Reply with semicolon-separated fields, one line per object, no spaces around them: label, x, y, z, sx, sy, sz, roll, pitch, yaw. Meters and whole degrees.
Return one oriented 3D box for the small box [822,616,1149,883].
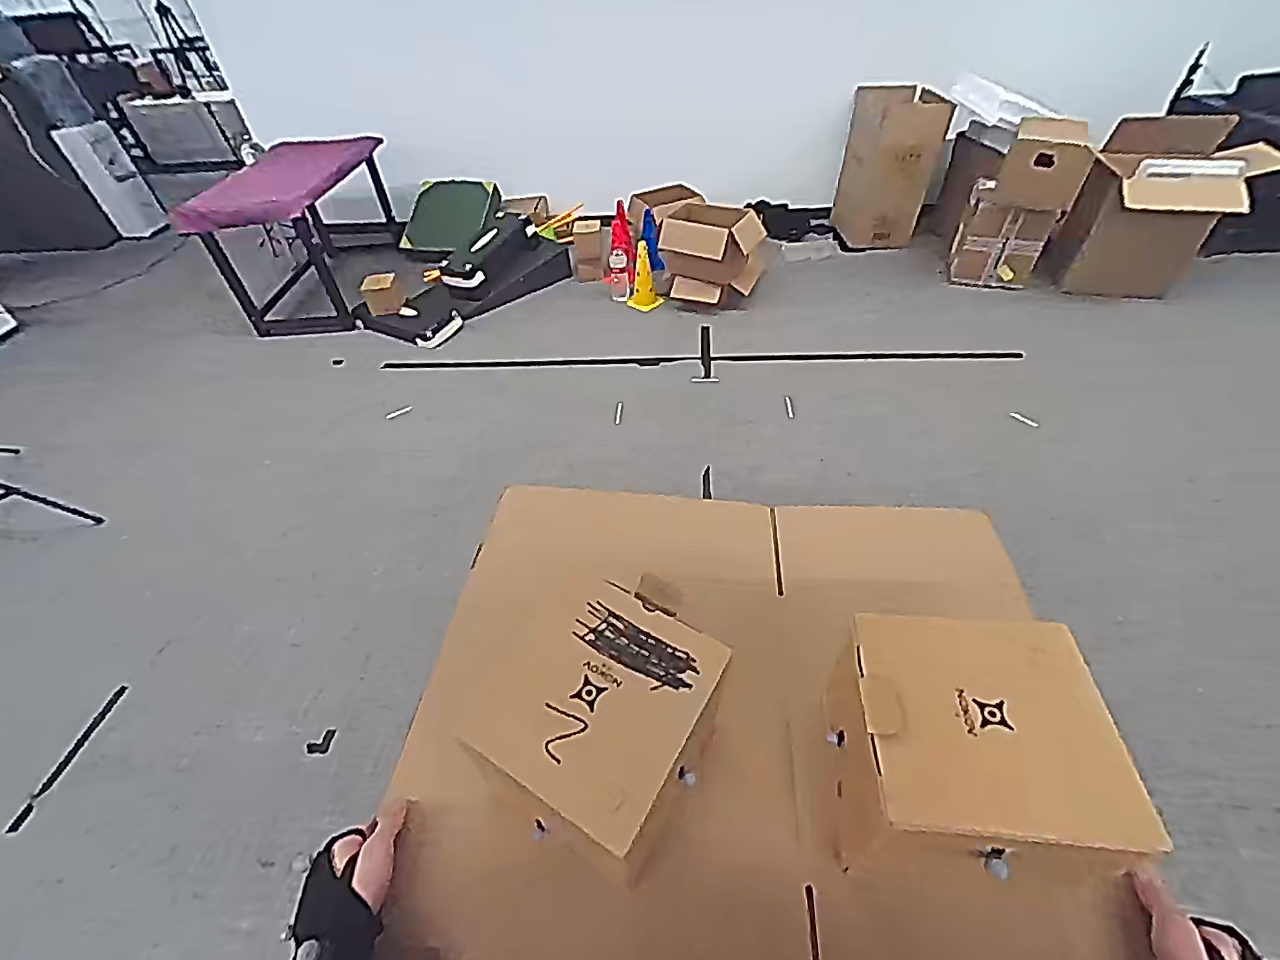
small box;0.273;0.241;0.483;0.179;0.176;0.168;1;45;9
